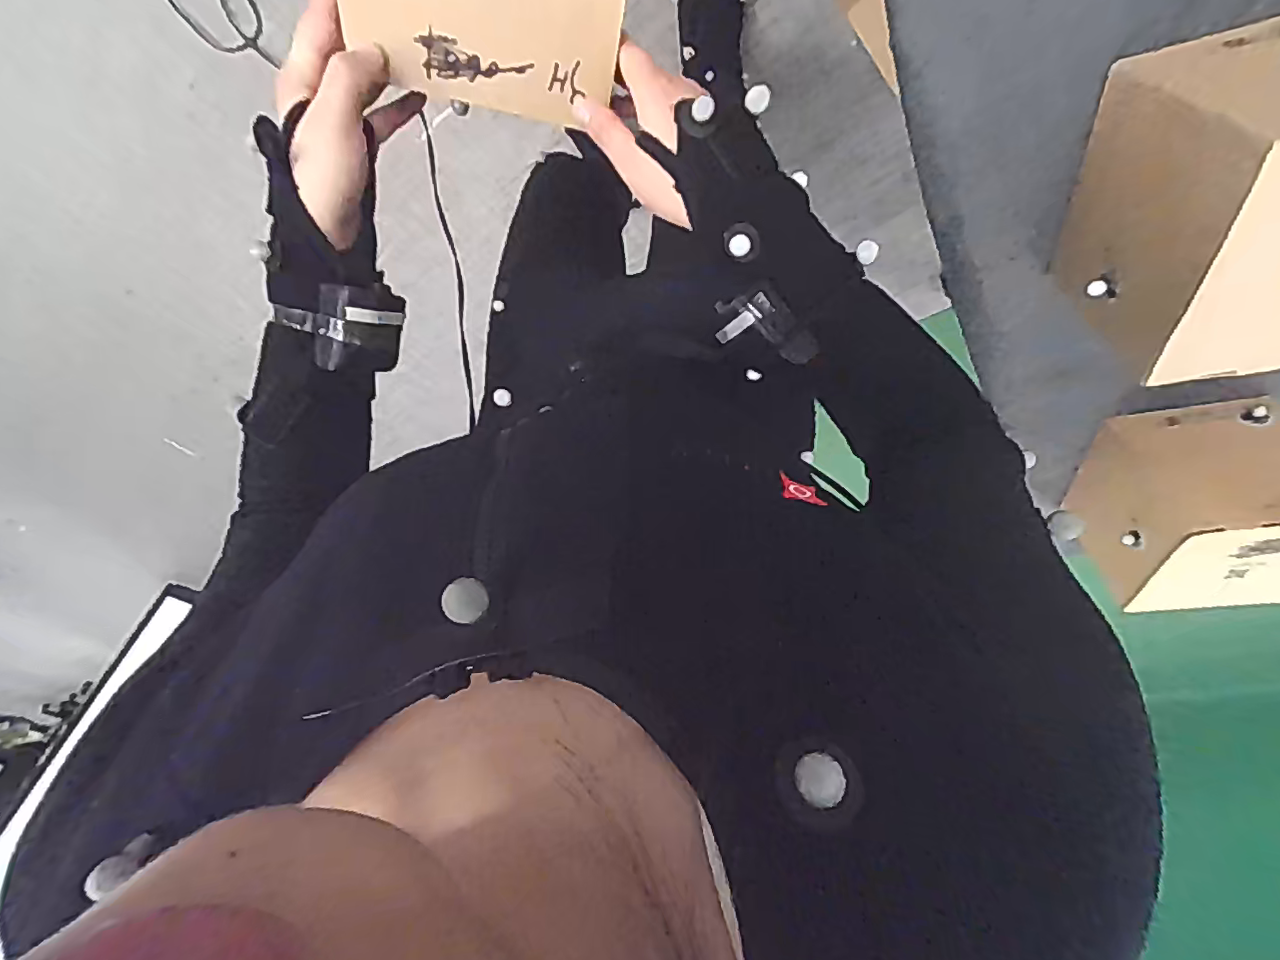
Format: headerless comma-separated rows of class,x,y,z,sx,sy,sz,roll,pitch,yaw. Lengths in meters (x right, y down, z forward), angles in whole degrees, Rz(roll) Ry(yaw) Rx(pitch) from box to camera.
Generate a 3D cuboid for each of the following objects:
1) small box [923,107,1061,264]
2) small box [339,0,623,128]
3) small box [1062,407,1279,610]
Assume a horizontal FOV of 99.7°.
small box,0.673,-0.569,1.051,0.179,0.176,0.168,-26,132,33
small box,-0.090,-0.369,0.347,0.168,0.176,0.179,7,139,-11
small box,0.639,0.030,0.630,0.168,0.176,0.179,-8,138,13
